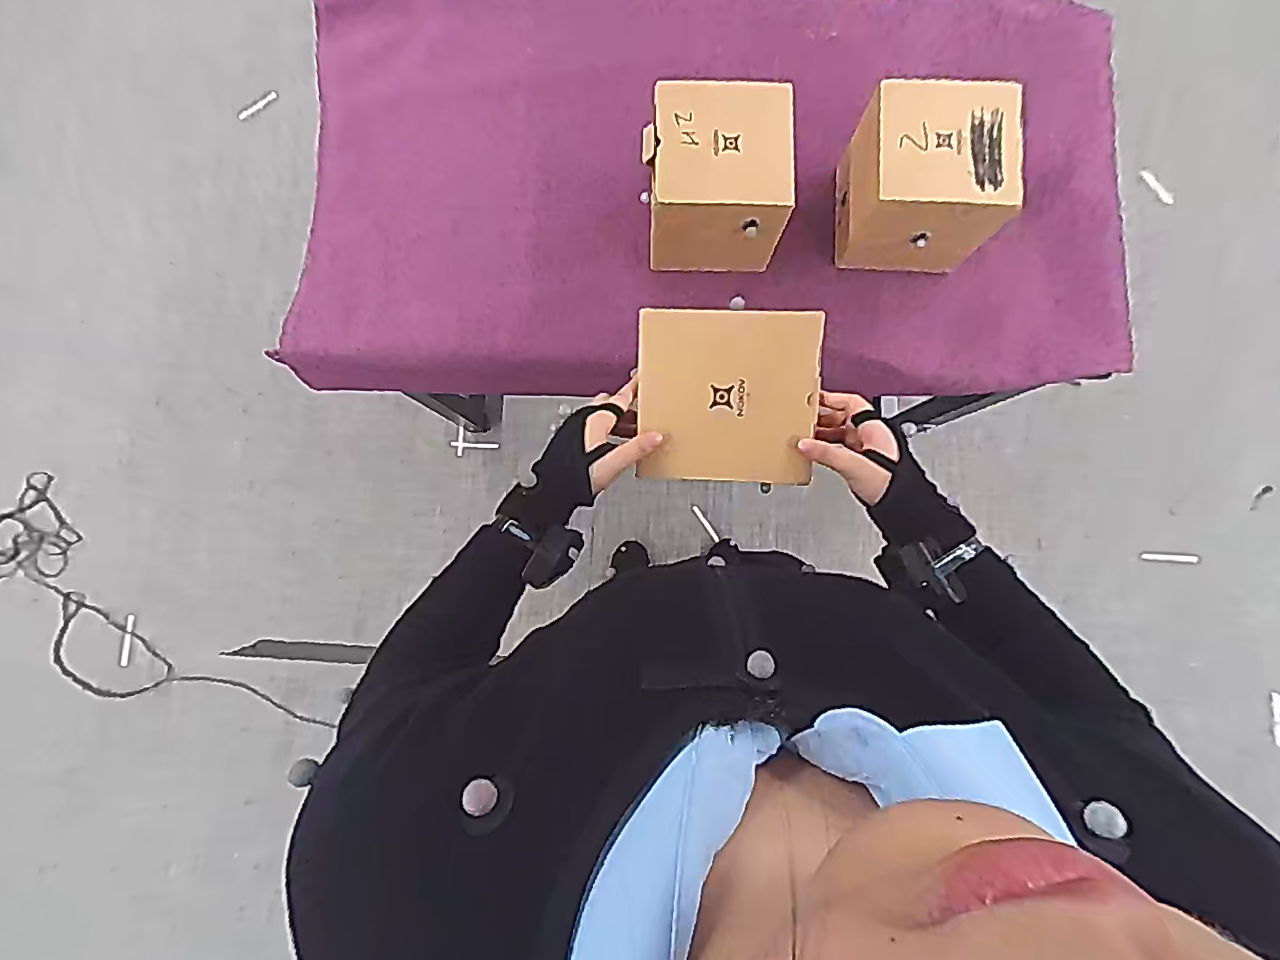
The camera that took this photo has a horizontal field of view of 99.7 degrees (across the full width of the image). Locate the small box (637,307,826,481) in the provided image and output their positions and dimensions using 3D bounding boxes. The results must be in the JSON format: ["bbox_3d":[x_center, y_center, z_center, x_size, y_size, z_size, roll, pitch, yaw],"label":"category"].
[{"bbox_3d":[0.092,-0.093,0.599,0.179,0.176,0.168,1,98,4],"label":"small box"}]

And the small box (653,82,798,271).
[{"bbox_3d":[0.108,-0.406,0.749,0.179,0.176,0.168,1,83,1],"label":"small box"}]
